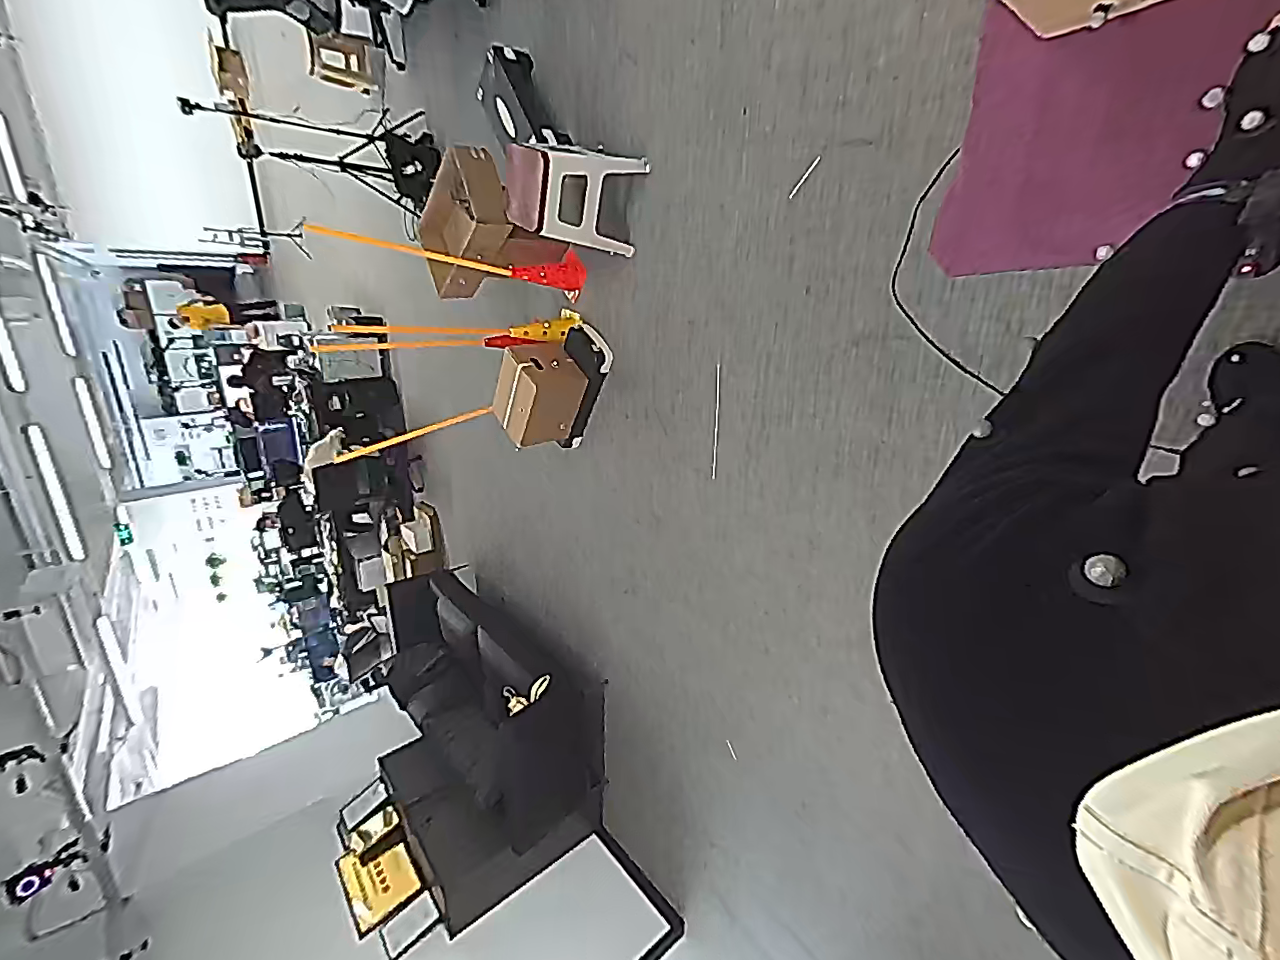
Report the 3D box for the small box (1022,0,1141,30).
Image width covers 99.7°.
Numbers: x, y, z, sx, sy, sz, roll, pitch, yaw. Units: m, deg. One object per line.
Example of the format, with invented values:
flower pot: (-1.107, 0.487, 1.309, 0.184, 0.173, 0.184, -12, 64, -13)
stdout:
small box: (0.498, -0.618, 0.556, 0.168, 0.176, 0.179, 18, 116, 48)
